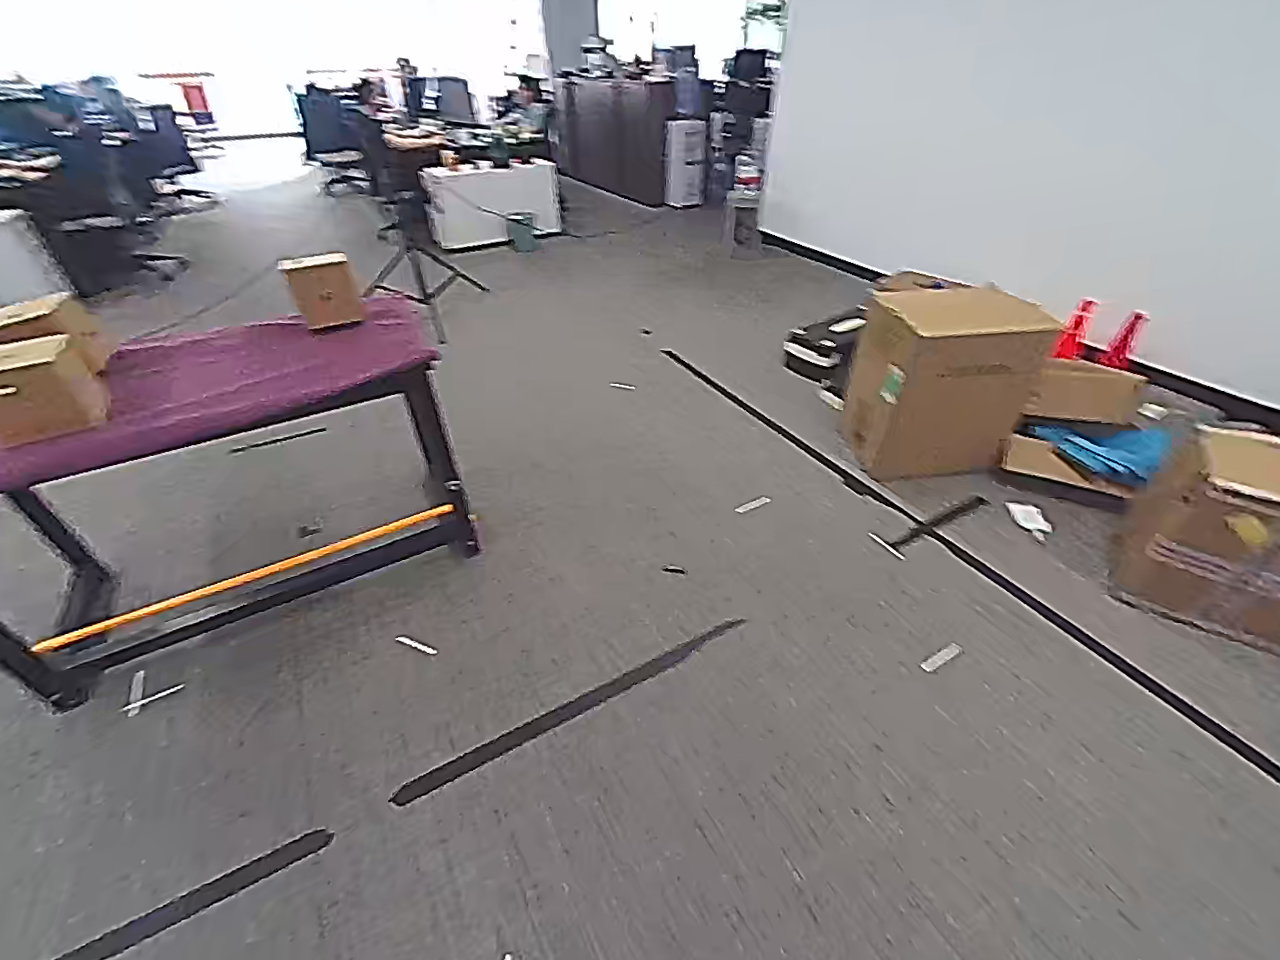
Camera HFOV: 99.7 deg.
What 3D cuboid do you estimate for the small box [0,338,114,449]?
[{"bbox_3d":[-1.340,-0.195,1.213,0.179,0.176,0.168,-22,43,-24],"label":"small box"}]

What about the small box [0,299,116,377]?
[{"bbox_3d":[-1.499,-0.344,1.382,0.179,0.168,0.176,-24,42,-15],"label":"small box"}]
